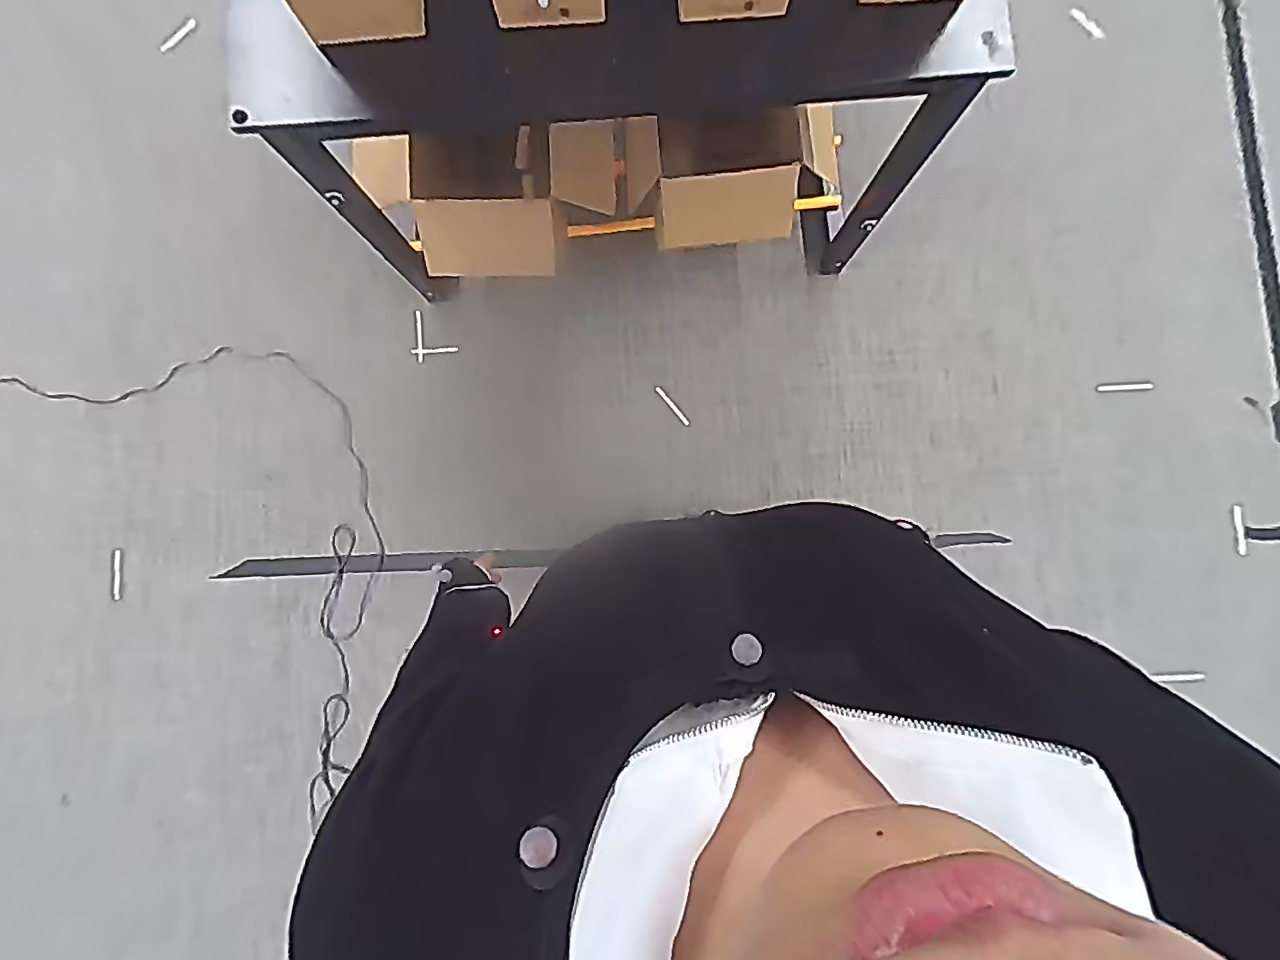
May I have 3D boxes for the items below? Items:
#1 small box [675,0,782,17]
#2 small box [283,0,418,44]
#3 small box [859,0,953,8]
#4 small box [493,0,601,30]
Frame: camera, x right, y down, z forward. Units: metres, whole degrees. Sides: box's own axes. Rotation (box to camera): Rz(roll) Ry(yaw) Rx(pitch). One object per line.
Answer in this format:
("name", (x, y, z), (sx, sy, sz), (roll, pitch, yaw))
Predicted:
("small box", (0.131, -0.804, 0.767), (0.168, 0.176, 0.179), (-4, 86, 1))
("small box", (-0.429, -0.768, 0.767), (0.179, 0.176, 0.168), (-5, 85, 0))
("small box", (0.407, -0.828, 0.765), (0.168, 0.176, 0.179), (-3, 86, 2))
("small box", (-0.145, -0.796, 0.768), (0.168, 0.176, 0.179), (-3, 86, 1))
